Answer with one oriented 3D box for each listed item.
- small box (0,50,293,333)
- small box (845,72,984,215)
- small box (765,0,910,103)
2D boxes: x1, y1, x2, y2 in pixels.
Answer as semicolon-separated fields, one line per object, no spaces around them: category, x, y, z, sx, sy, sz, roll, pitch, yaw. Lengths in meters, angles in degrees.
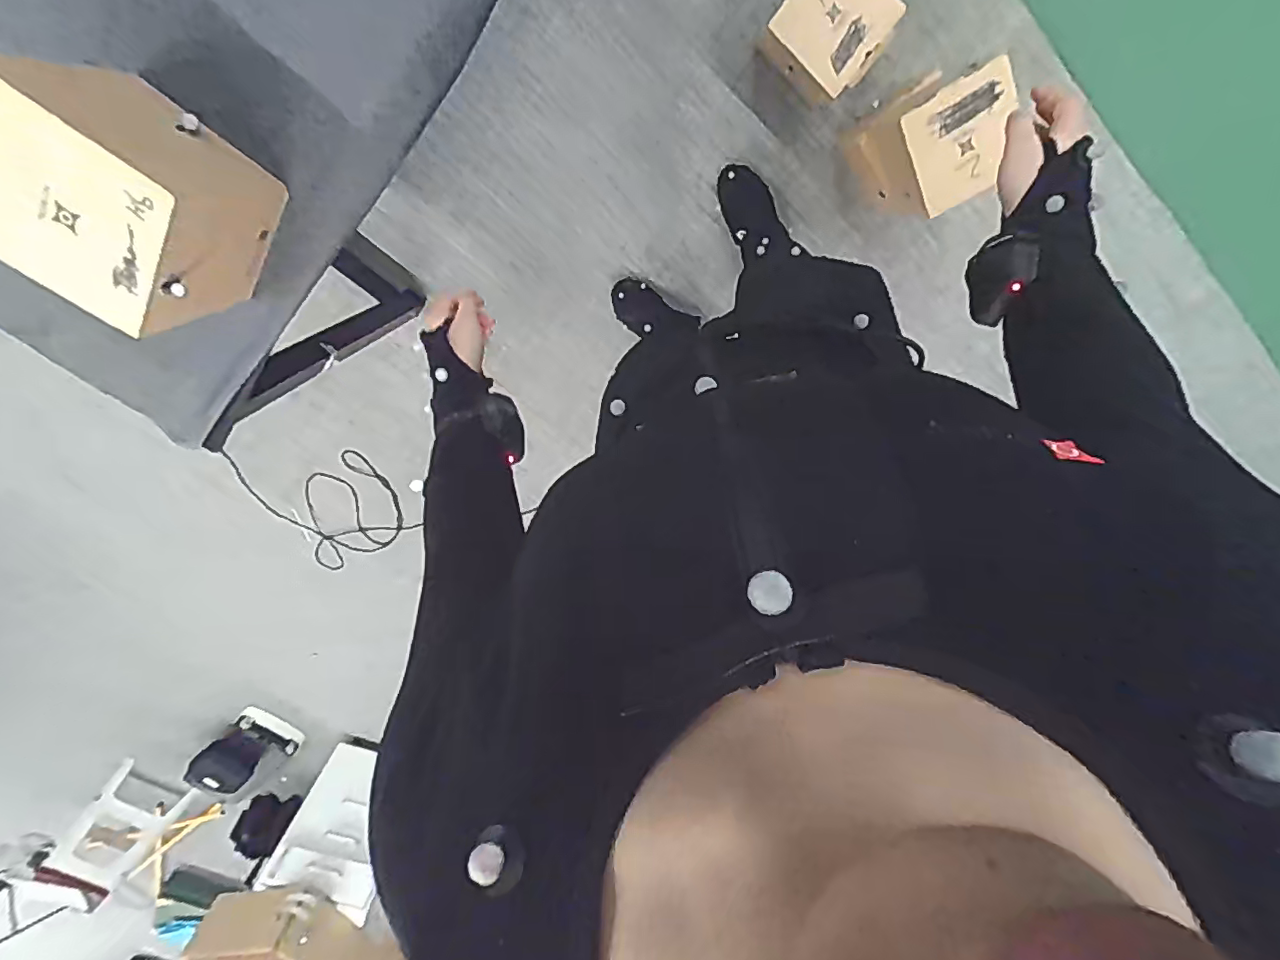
small box;-0.514;-0.287;0.560;0.179;0.176;0.168;36;117;-16
small box;0.542;-0.669;1.087;0.168;0.176;0.179;-35;112;23
small box;0.355;-0.838;1.004;0.179;0.176;0.168;37;117;-15
